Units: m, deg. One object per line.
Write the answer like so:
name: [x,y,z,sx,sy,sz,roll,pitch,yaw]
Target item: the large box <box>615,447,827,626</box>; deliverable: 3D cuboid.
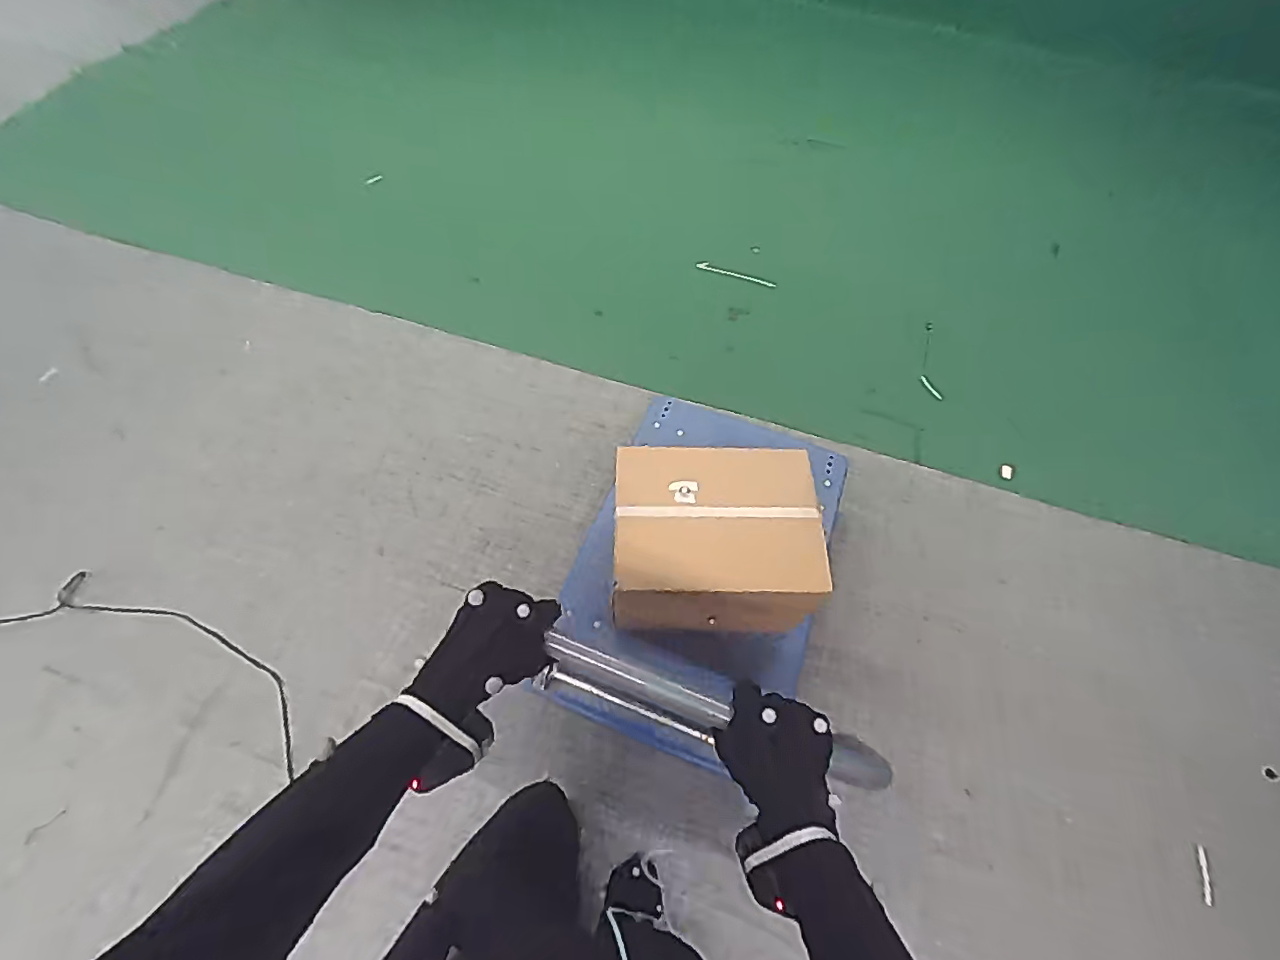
large box: [0.150,0.137,1.207,0.408,0.320,0.320,0,60,-1]
